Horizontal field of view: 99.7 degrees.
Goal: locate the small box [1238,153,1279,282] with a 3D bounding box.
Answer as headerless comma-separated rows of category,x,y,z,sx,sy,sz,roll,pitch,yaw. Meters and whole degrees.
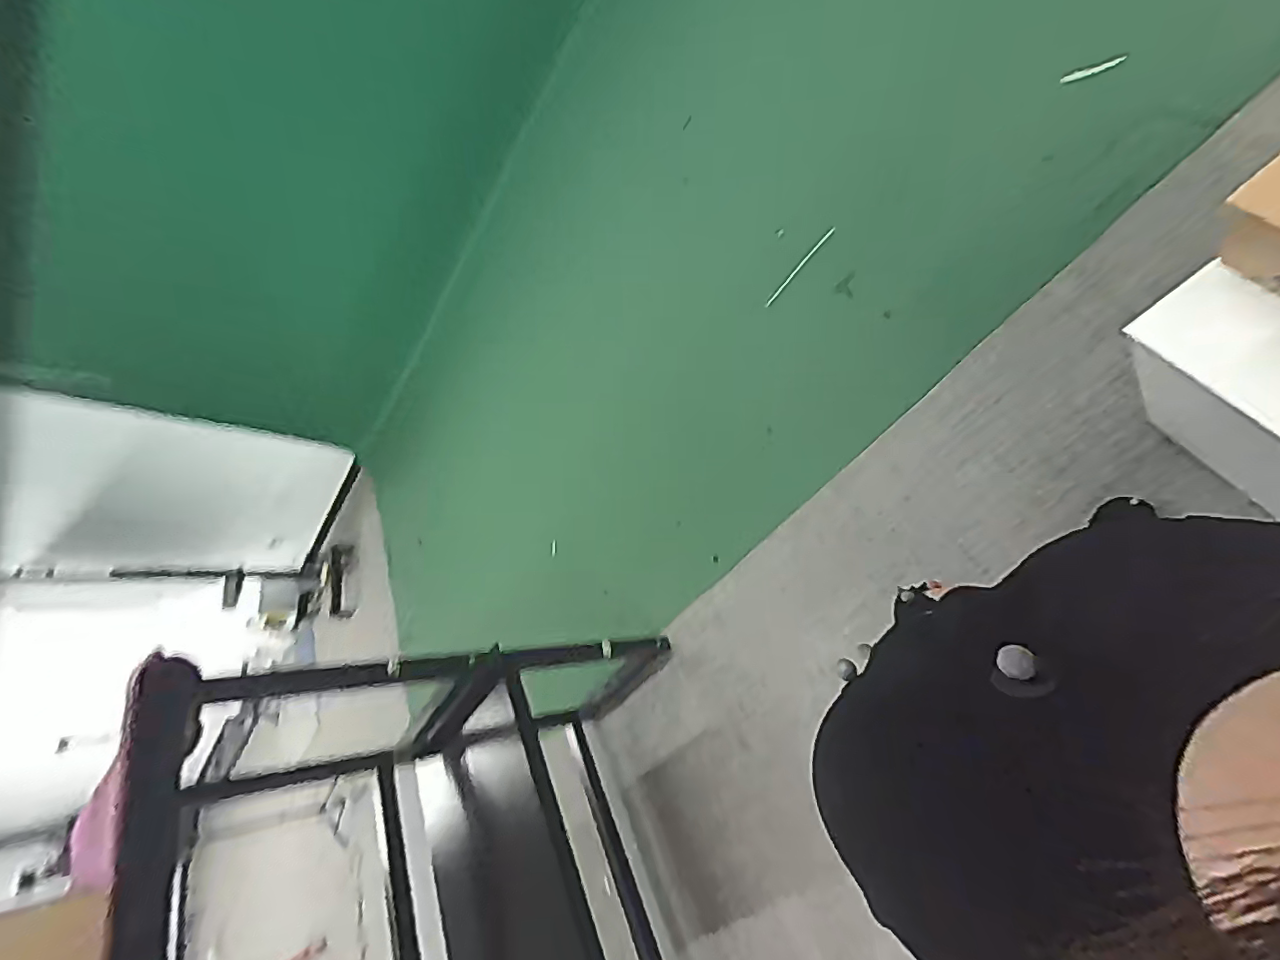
small box,0.779,-0.296,0.552,0.179,0.176,0.168,-48,52,30
